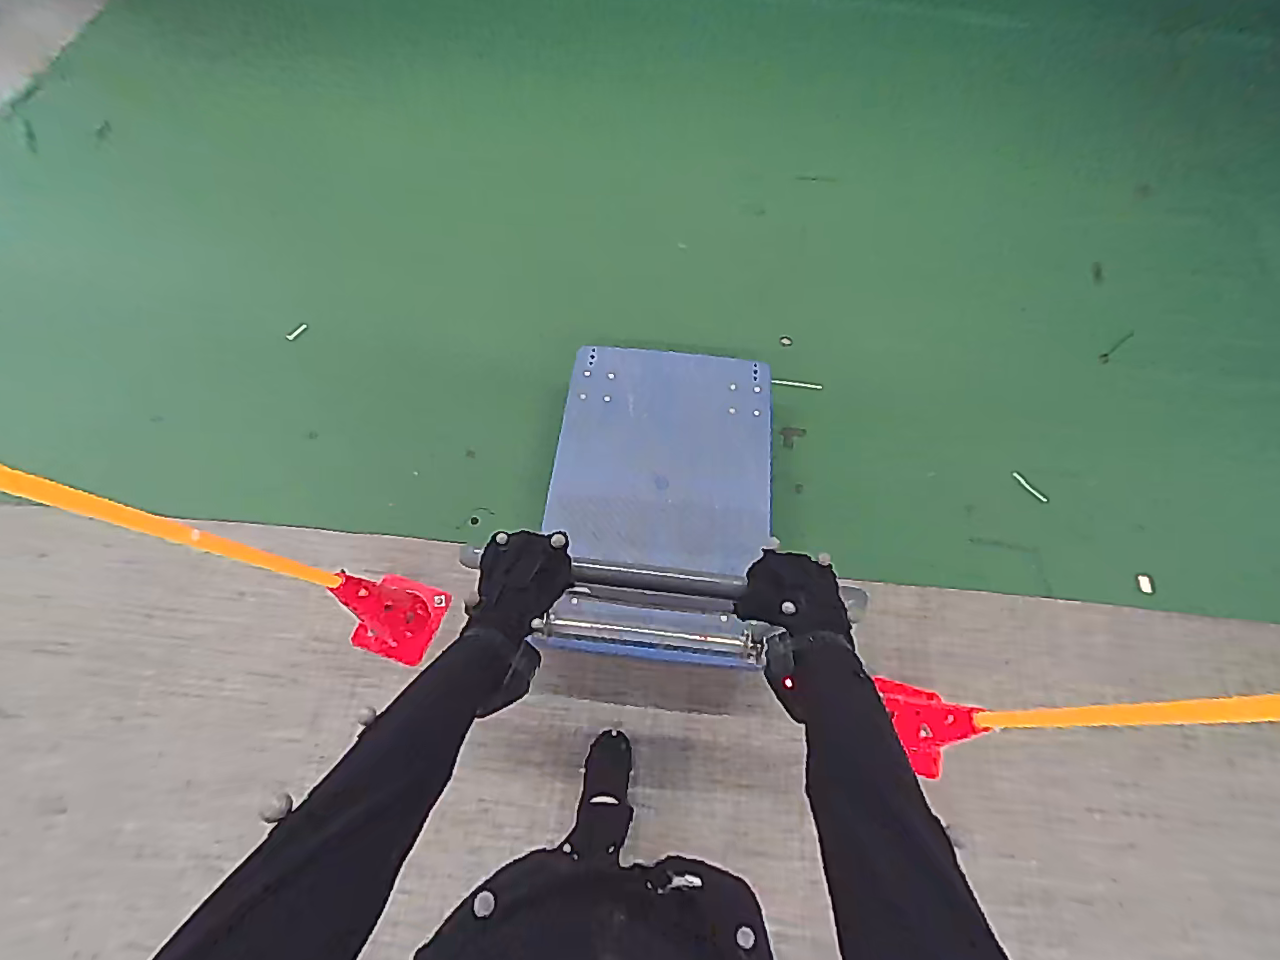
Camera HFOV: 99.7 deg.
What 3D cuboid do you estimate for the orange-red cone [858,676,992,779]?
[{"bbox_3d":[0.641,0.526,1.169,0.198,0.360,0.199,15,65,7],"label":"orange-red cone"}]
